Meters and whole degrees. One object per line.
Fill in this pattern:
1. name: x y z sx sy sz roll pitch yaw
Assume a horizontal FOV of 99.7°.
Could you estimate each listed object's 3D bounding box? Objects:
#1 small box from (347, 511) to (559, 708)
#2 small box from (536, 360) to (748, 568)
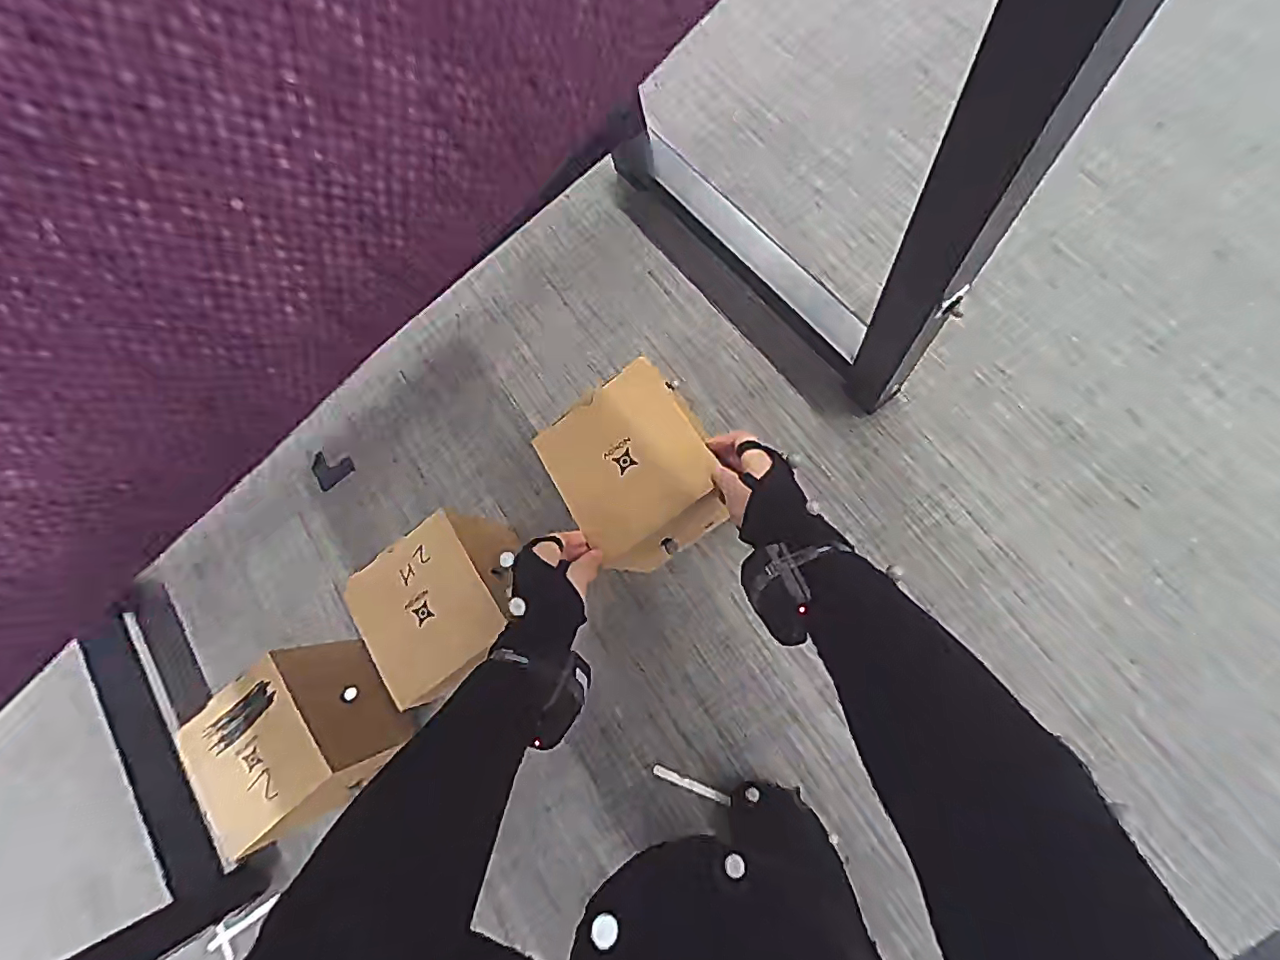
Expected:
1. small box: -0.234 0.165 0.715 0.168 0.176 0.179 -36 73 3
2. small box: 0.012 -0.008 0.663 0.168 0.176 0.179 -37 69 9
